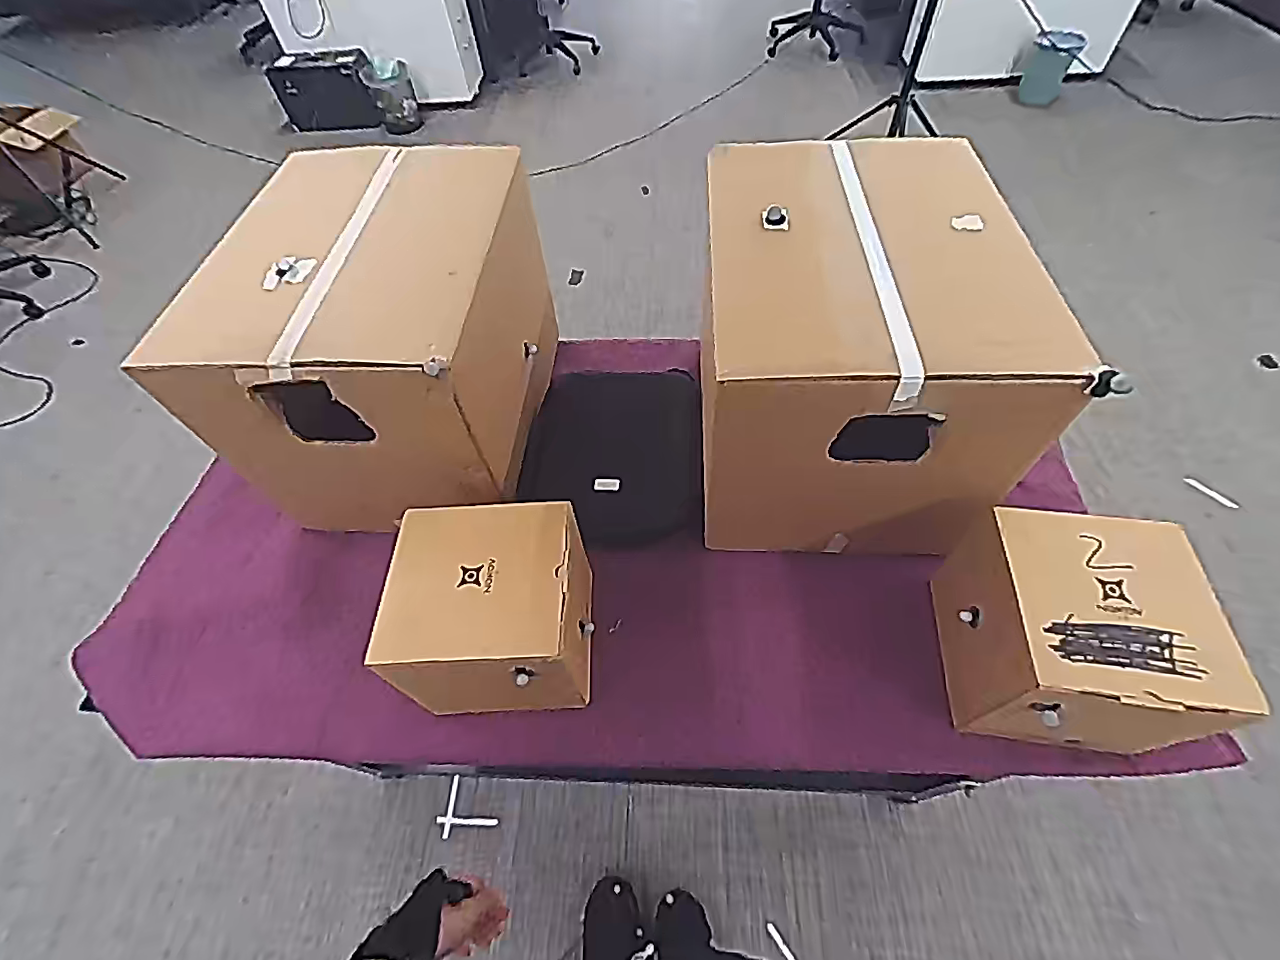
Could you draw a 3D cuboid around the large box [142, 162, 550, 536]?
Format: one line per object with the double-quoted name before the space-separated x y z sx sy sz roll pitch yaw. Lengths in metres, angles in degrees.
"large box" -0.313 -0.170 0.735 0.320 0.320 0.408 0 57 4
